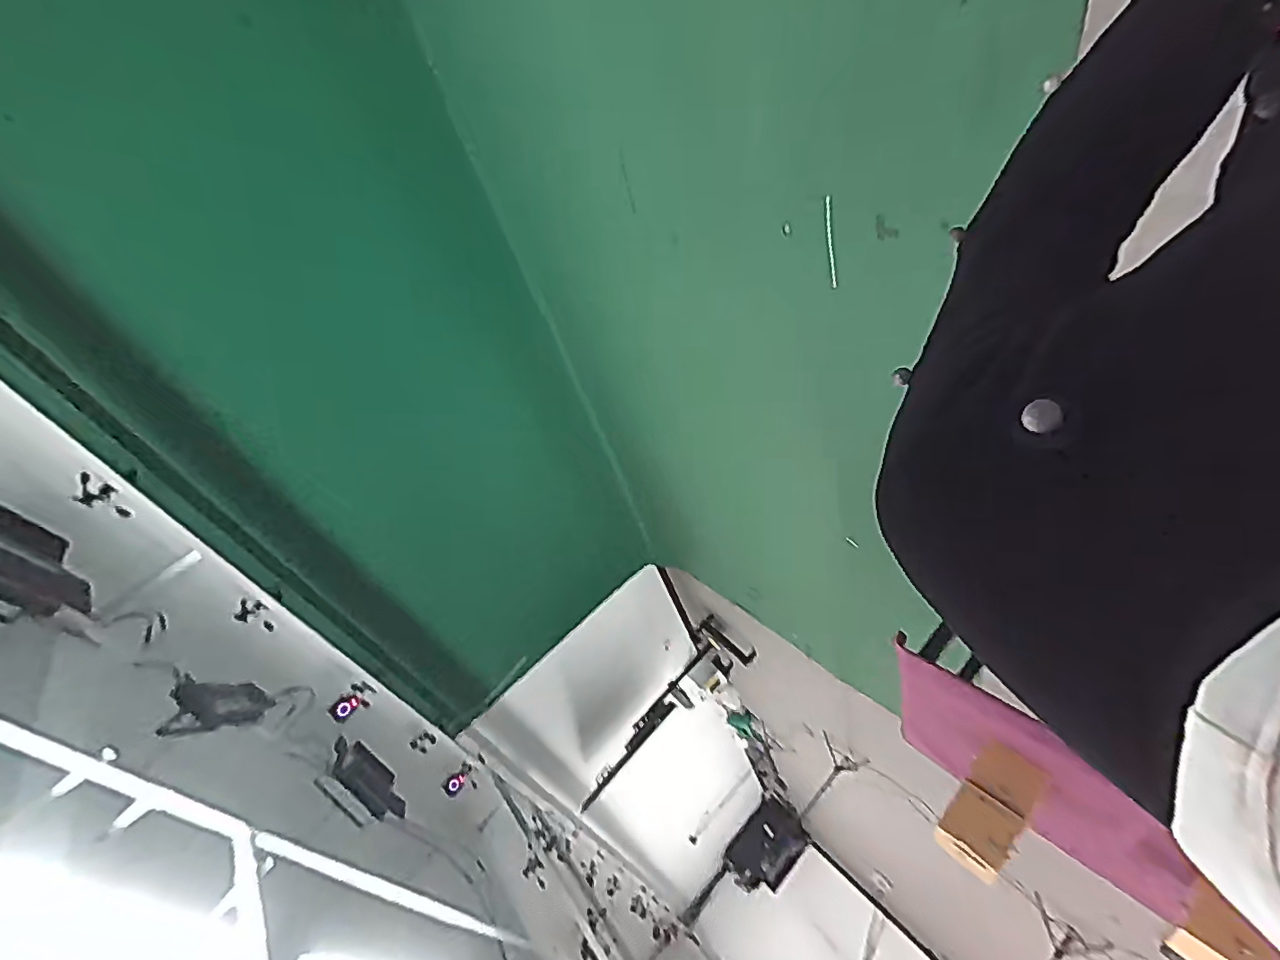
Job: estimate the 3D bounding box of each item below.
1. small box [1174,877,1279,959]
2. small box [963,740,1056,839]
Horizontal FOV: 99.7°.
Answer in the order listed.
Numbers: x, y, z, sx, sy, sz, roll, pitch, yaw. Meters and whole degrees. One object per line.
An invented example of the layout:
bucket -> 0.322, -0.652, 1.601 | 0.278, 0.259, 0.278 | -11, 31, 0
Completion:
small box -> 1.424, 1.085, 1.276 | 0.179, 0.176, 0.168 | 25, 148, 47
small box -> 1.117, 0.932, 1.638 | 0.179, 0.176, 0.168 | 30, 152, 44
